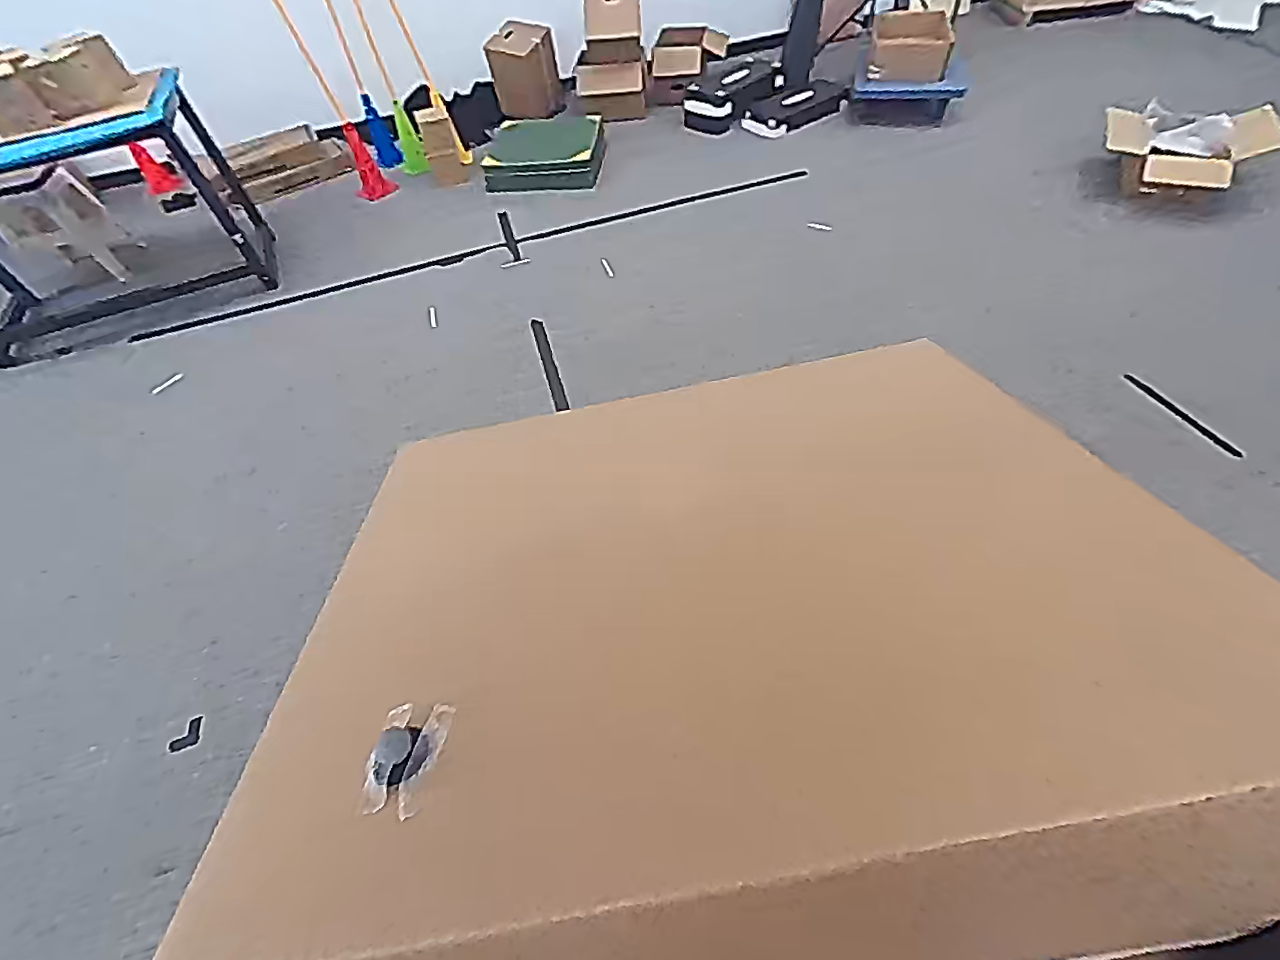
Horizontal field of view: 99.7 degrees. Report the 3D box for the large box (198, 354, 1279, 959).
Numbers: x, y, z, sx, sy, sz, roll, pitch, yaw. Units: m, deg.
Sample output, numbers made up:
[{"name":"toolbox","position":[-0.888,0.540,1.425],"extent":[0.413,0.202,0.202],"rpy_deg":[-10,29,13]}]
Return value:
[{"name":"large box","position":[0.057,0.146,0.376],"extent":[0.408,0.320,0.320],"rpy_deg":[-12,36,1]}]
